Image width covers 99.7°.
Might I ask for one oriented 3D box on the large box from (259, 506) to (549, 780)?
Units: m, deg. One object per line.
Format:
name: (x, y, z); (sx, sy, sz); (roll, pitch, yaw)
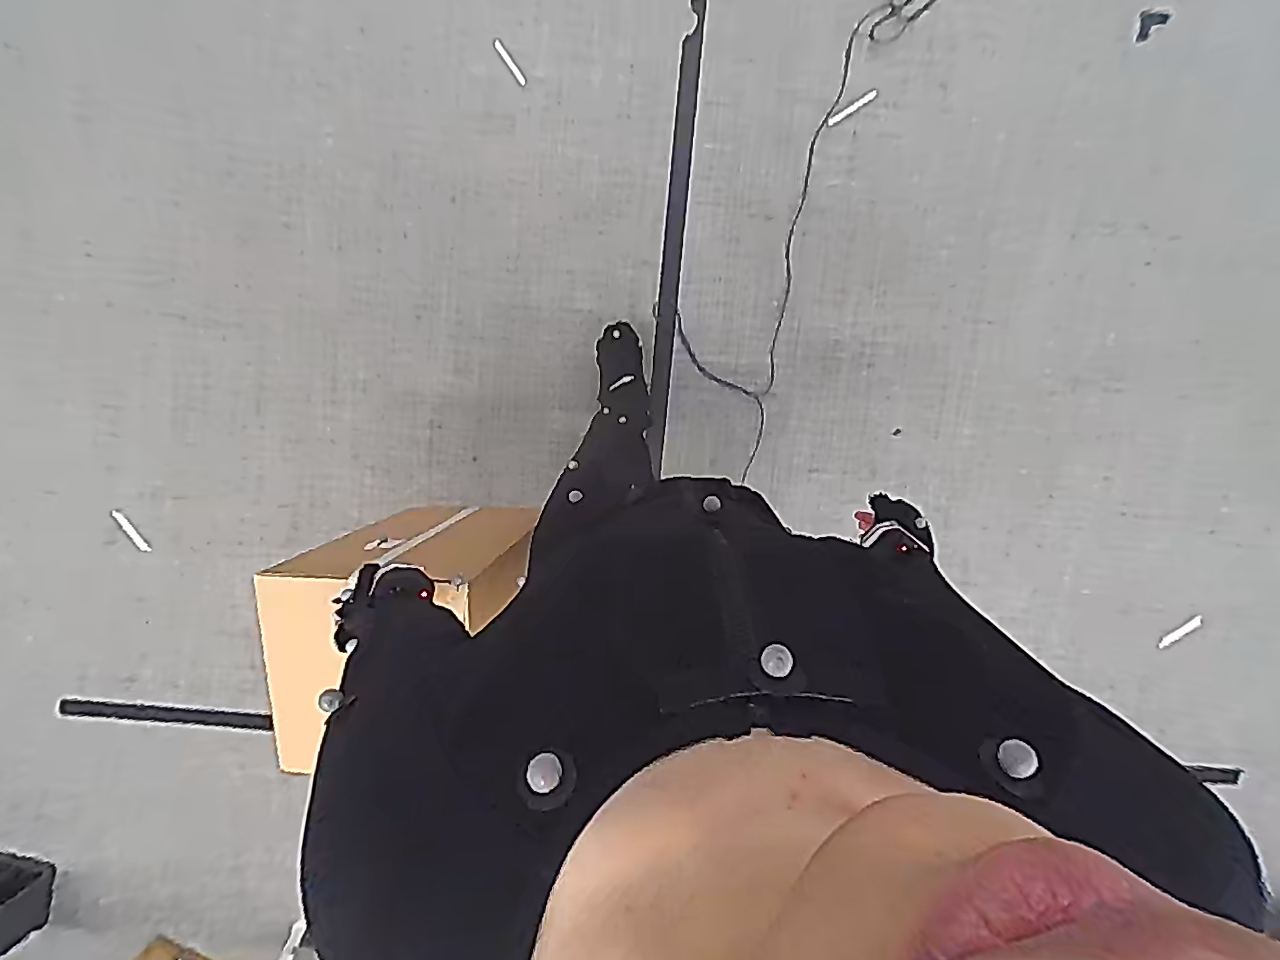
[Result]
large box: (-0.363, 0.245, 0.956); (0.320, 0.408, 0.320); (0, 101, 7)
